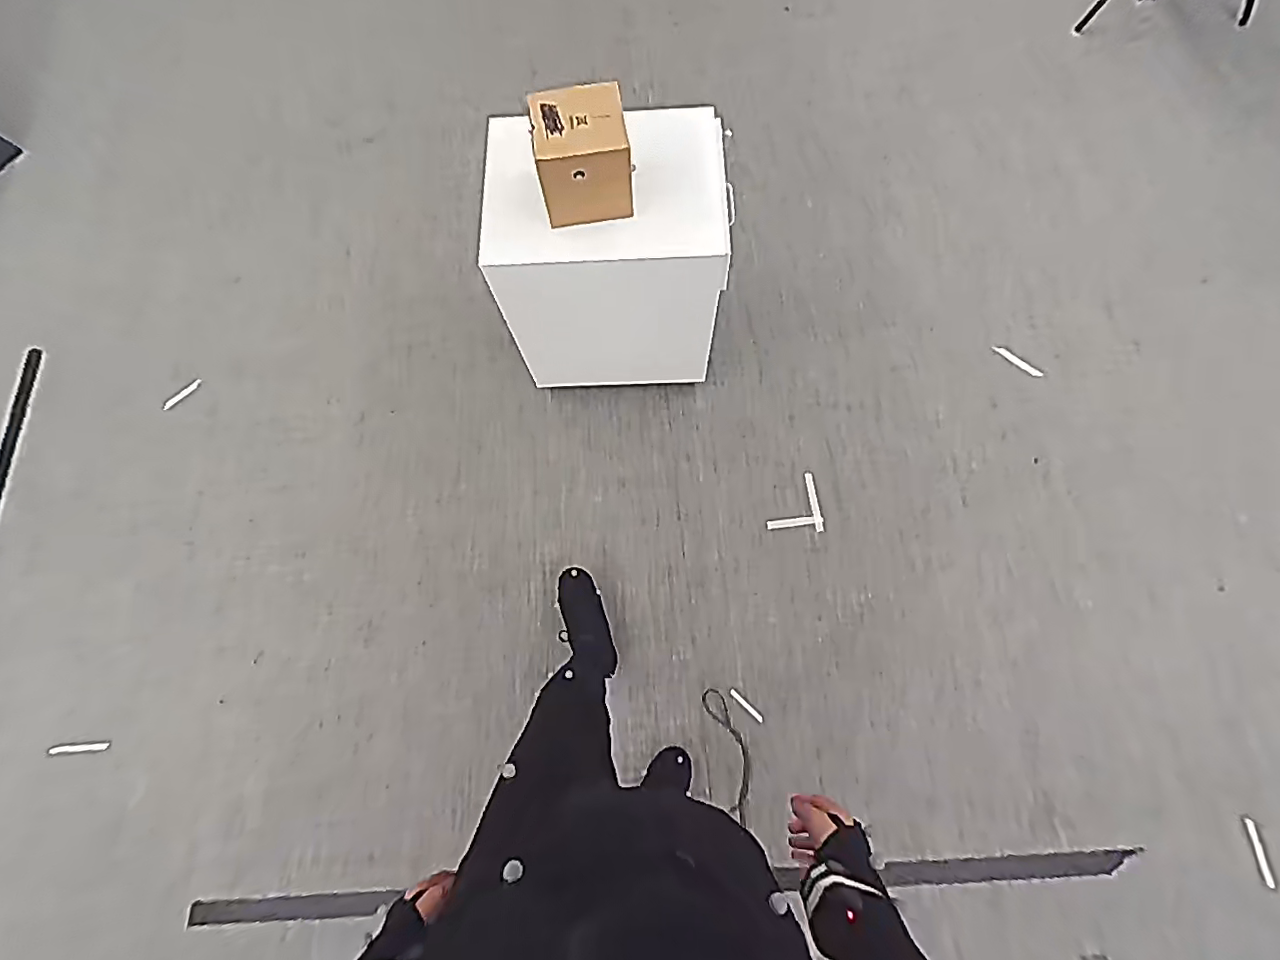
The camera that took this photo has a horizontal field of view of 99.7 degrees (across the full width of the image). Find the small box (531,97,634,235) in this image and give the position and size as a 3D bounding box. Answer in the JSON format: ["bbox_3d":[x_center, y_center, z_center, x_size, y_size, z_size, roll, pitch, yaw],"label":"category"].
[{"bbox_3d":[-0.110,-0.618,1.082,0.179,0.176,0.168,-8,73,-2],"label":"small box"}]
